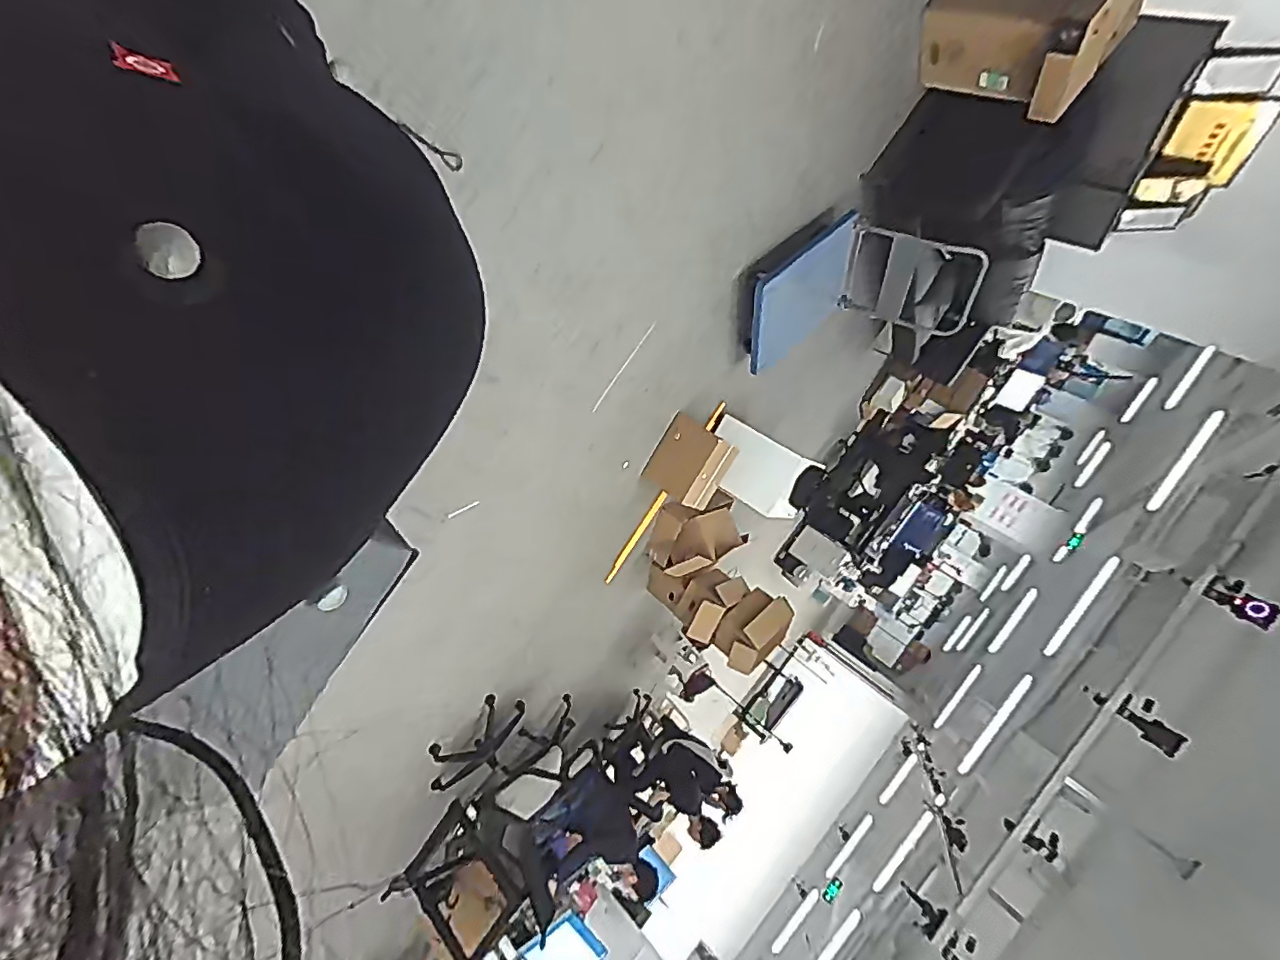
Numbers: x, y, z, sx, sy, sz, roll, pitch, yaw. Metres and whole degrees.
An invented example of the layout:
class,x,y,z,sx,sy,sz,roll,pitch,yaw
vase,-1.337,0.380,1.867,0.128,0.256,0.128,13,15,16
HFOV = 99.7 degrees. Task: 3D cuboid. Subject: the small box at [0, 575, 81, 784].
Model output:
class,x,y,z,sx,sy,sz,roll,pitch,yaw
small box,-0.730,0.202,0.542,0.179,0.176,0.168,-54,151,2
